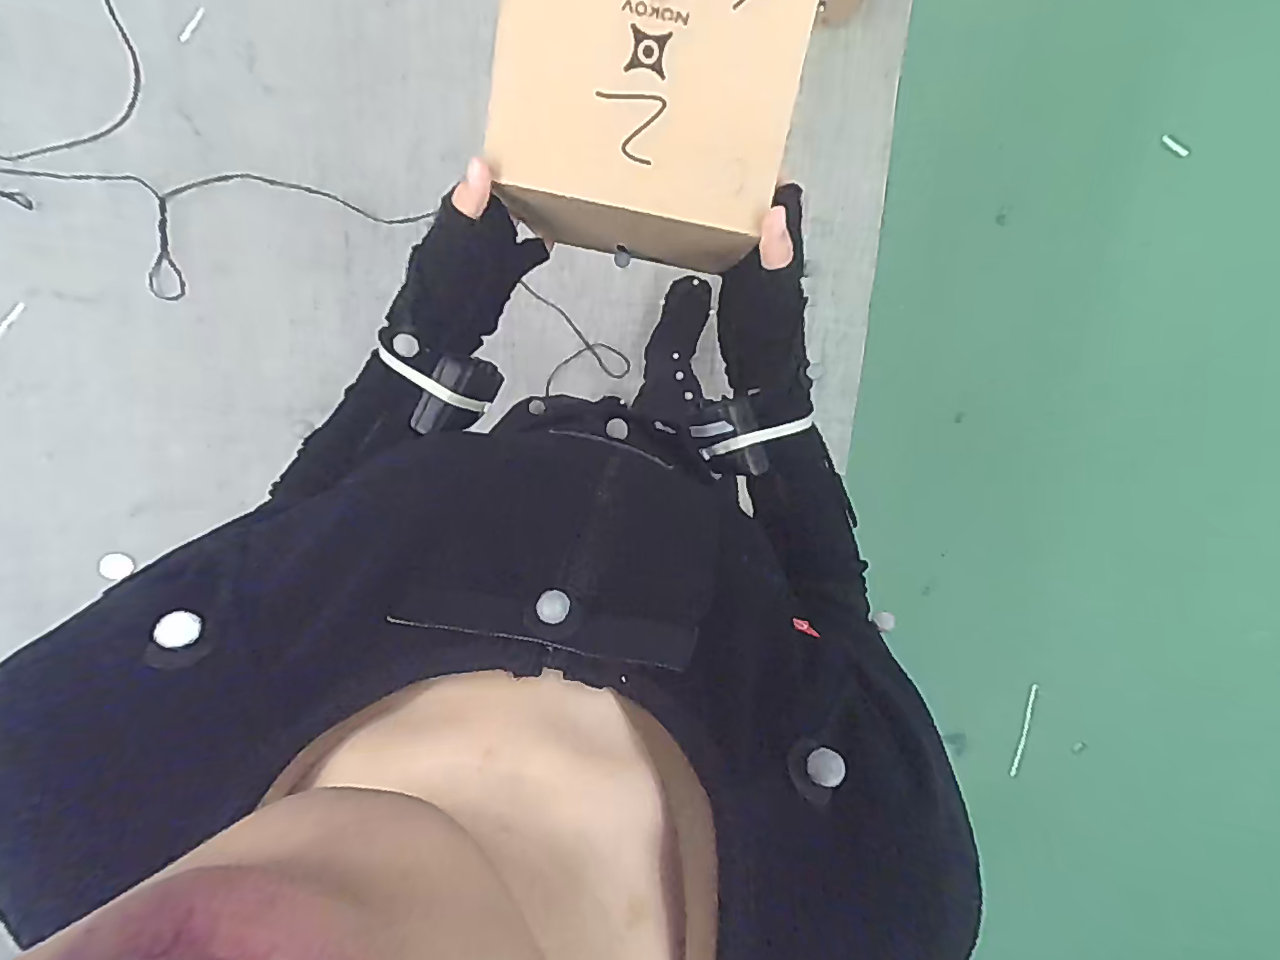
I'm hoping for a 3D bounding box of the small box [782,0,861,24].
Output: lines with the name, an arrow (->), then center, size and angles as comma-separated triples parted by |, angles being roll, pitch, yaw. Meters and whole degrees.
small box -> 0.411, -1.126, 1.159 | 0.168, 0.176, 0.179 | 4, 102, -2
